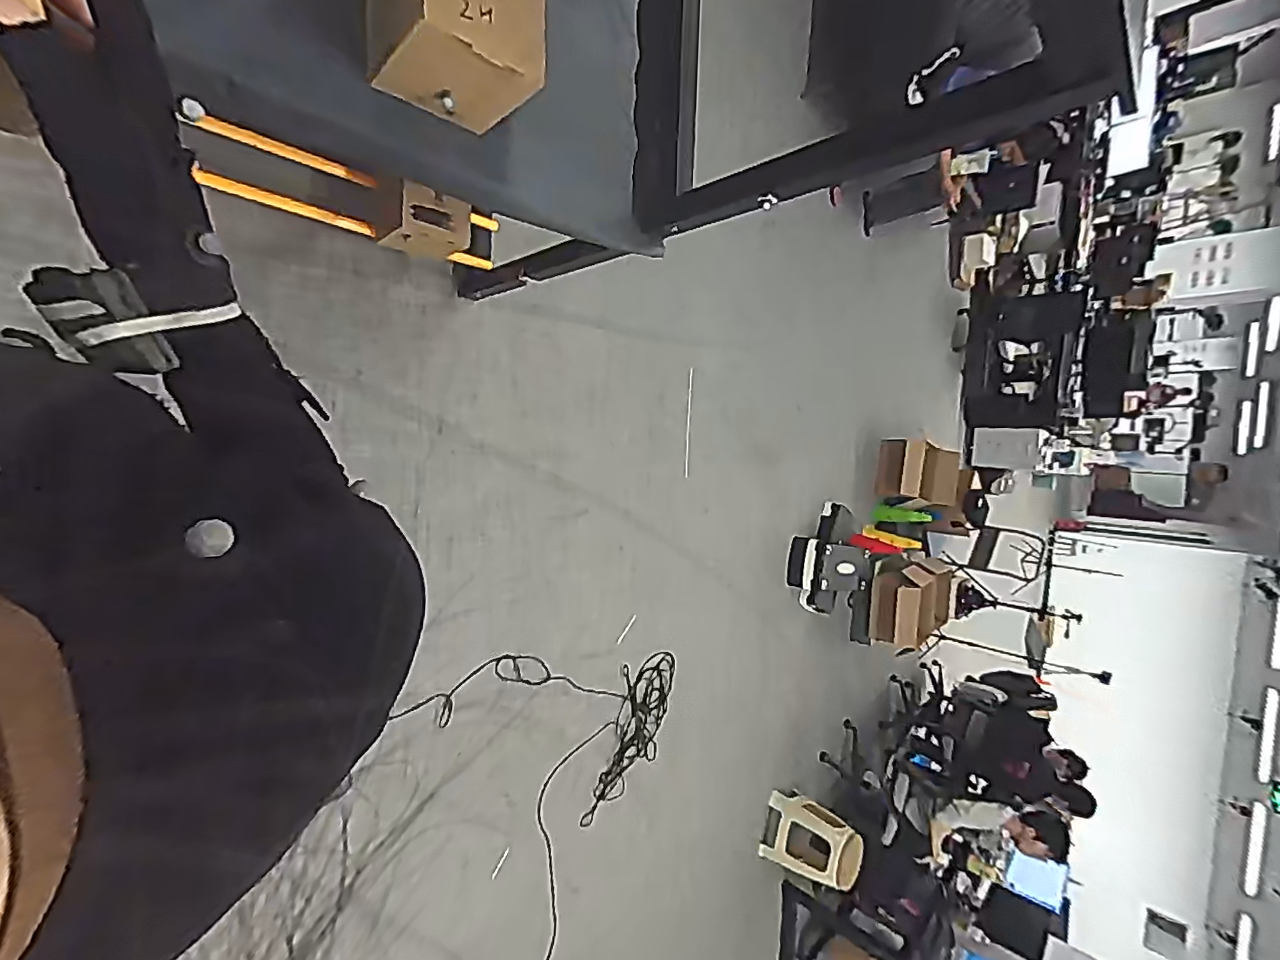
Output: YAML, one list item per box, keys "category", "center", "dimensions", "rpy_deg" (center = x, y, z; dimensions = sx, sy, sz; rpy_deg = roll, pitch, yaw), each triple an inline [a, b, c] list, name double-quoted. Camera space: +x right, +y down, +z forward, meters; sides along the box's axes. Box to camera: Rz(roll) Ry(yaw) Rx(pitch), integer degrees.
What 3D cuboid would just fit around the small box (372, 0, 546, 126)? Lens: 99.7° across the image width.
- category: "small box"
  center: [-0.240, -0.615, 0.709]
  dimensions: [0.168, 0.176, 0.179]
  rpy_deg: [-4, 96, -45]
